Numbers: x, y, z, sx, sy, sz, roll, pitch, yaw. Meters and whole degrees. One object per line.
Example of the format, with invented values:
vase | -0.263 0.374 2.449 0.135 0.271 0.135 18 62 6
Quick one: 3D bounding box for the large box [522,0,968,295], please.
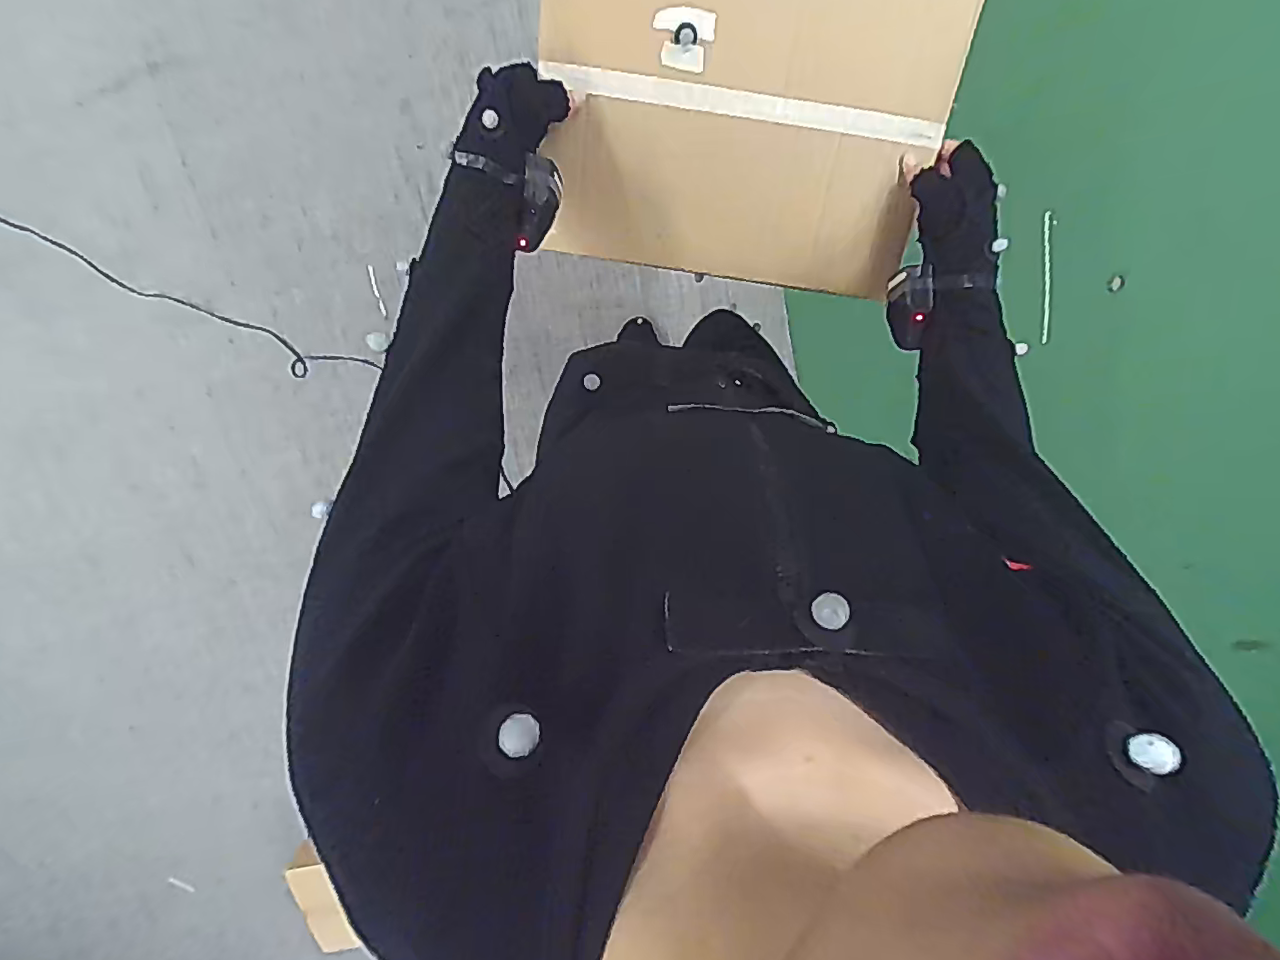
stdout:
large box | 0.095 -0.433 0.666 0.408 0.320 0.320 9 115 -2
